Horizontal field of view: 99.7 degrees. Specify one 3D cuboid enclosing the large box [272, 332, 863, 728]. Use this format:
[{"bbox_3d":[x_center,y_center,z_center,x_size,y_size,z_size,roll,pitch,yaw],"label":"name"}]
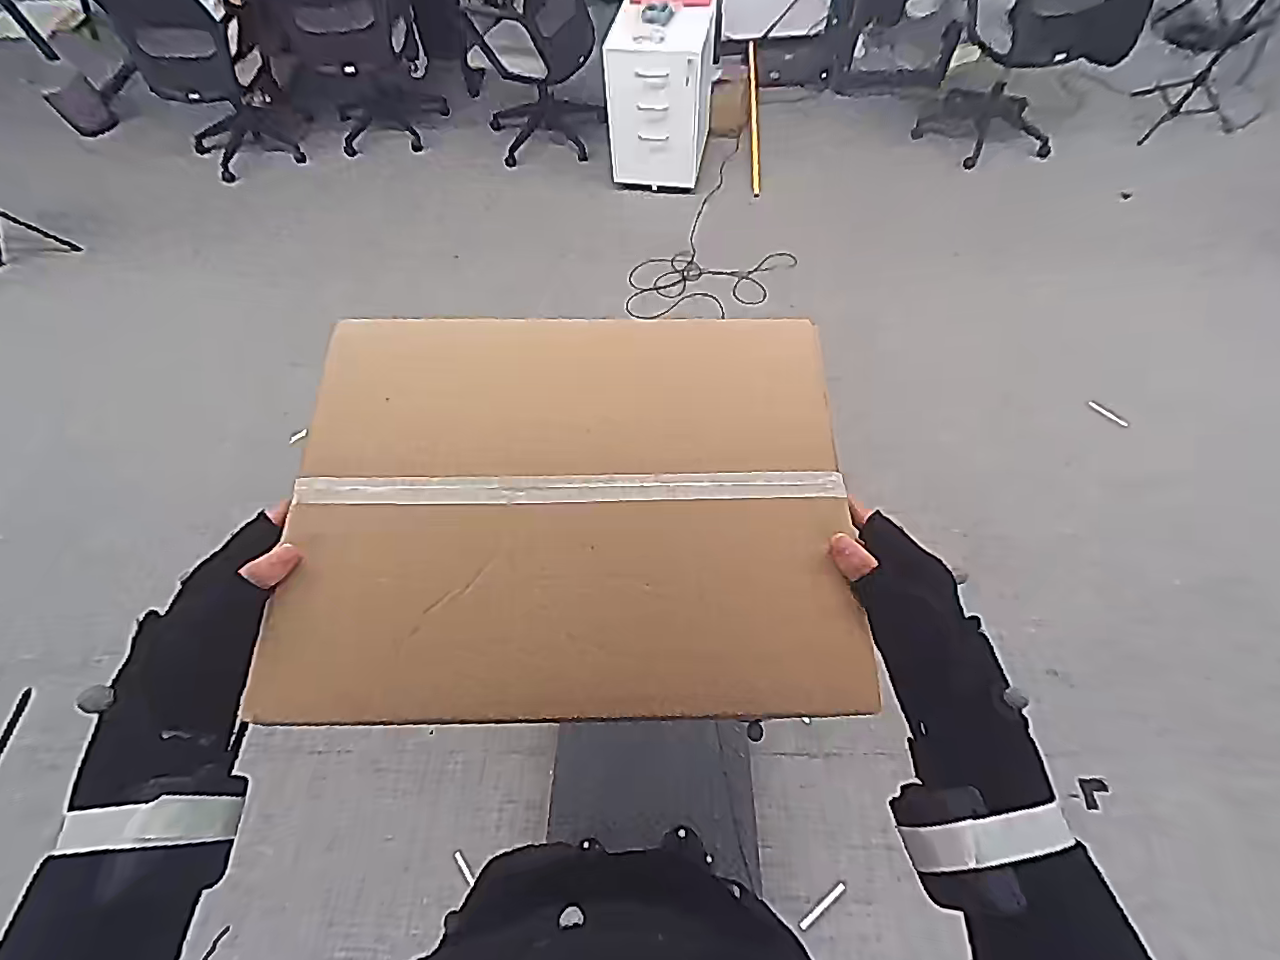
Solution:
[{"bbox_3d":[-0.050,0.071,0.552,0.408,0.320,0.320,-1,67,-1],"label":"large box"}]
